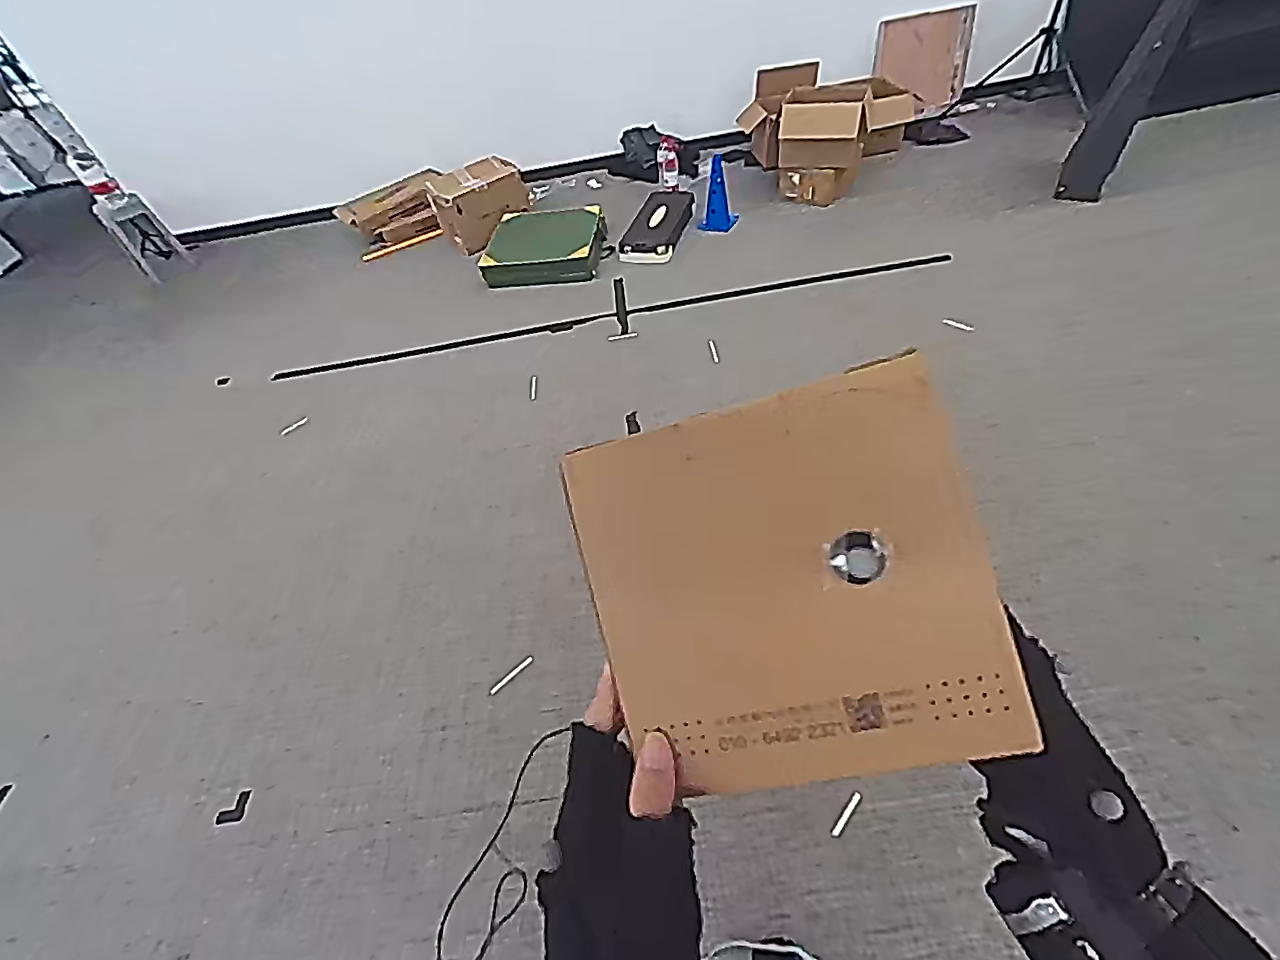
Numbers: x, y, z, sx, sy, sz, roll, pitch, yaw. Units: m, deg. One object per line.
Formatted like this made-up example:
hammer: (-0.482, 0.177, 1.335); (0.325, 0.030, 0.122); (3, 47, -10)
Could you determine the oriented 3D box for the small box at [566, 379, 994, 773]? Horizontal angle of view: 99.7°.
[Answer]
small box: (0.081, 0.055, 0.329); (0.168, 0.179, 0.176); (-16, 87, 16)
